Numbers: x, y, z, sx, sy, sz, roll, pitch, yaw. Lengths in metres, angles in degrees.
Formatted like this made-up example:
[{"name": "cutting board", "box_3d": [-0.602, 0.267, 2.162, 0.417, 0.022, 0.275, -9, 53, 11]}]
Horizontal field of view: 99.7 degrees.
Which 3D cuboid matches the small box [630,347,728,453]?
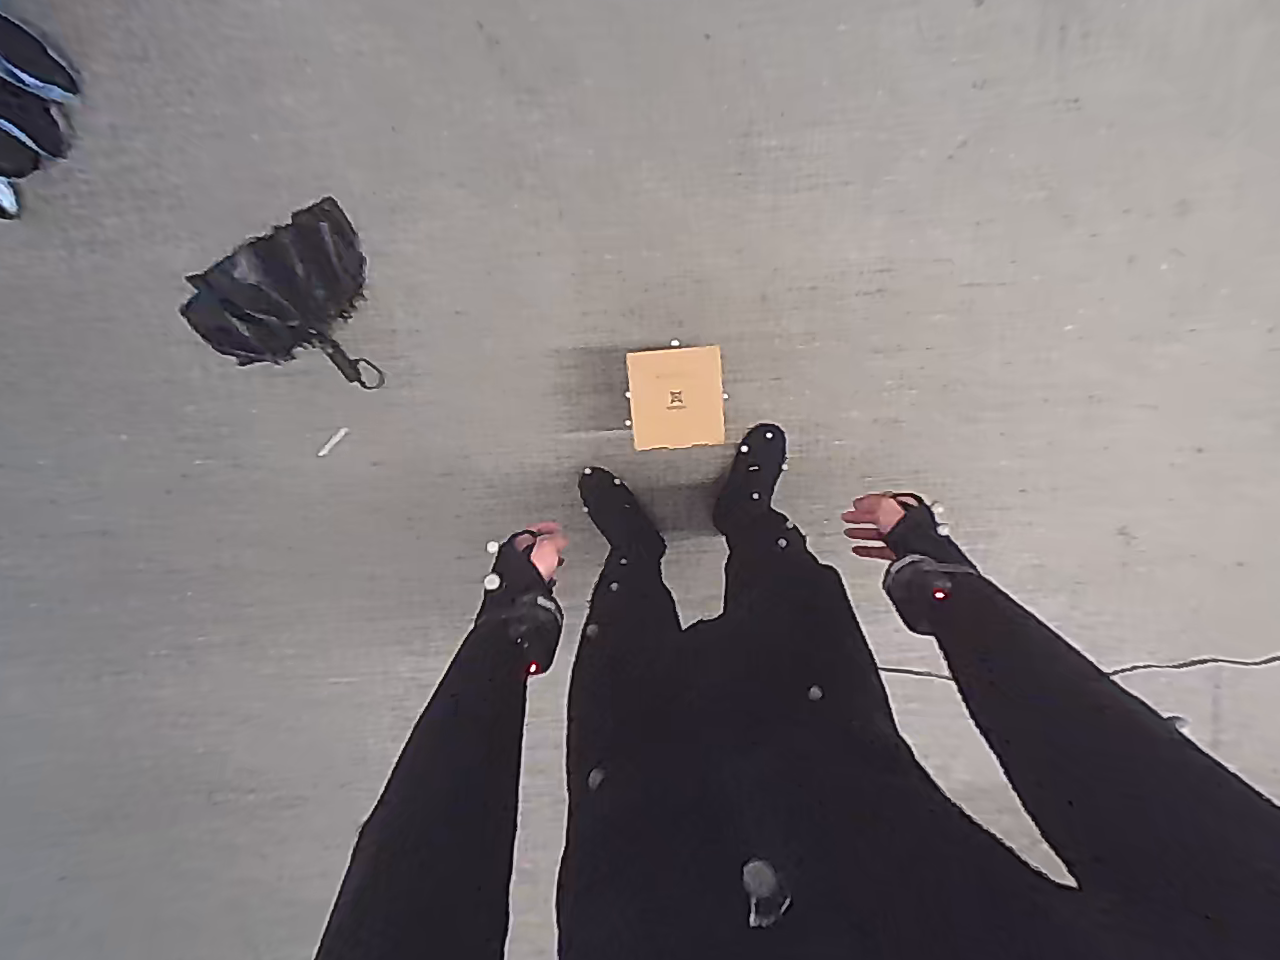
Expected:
[{"name": "small box", "box_3d": [0.071, -0.155, 1.026, 0.168, 0.176, 0.179, -5, 101, 1]}]
